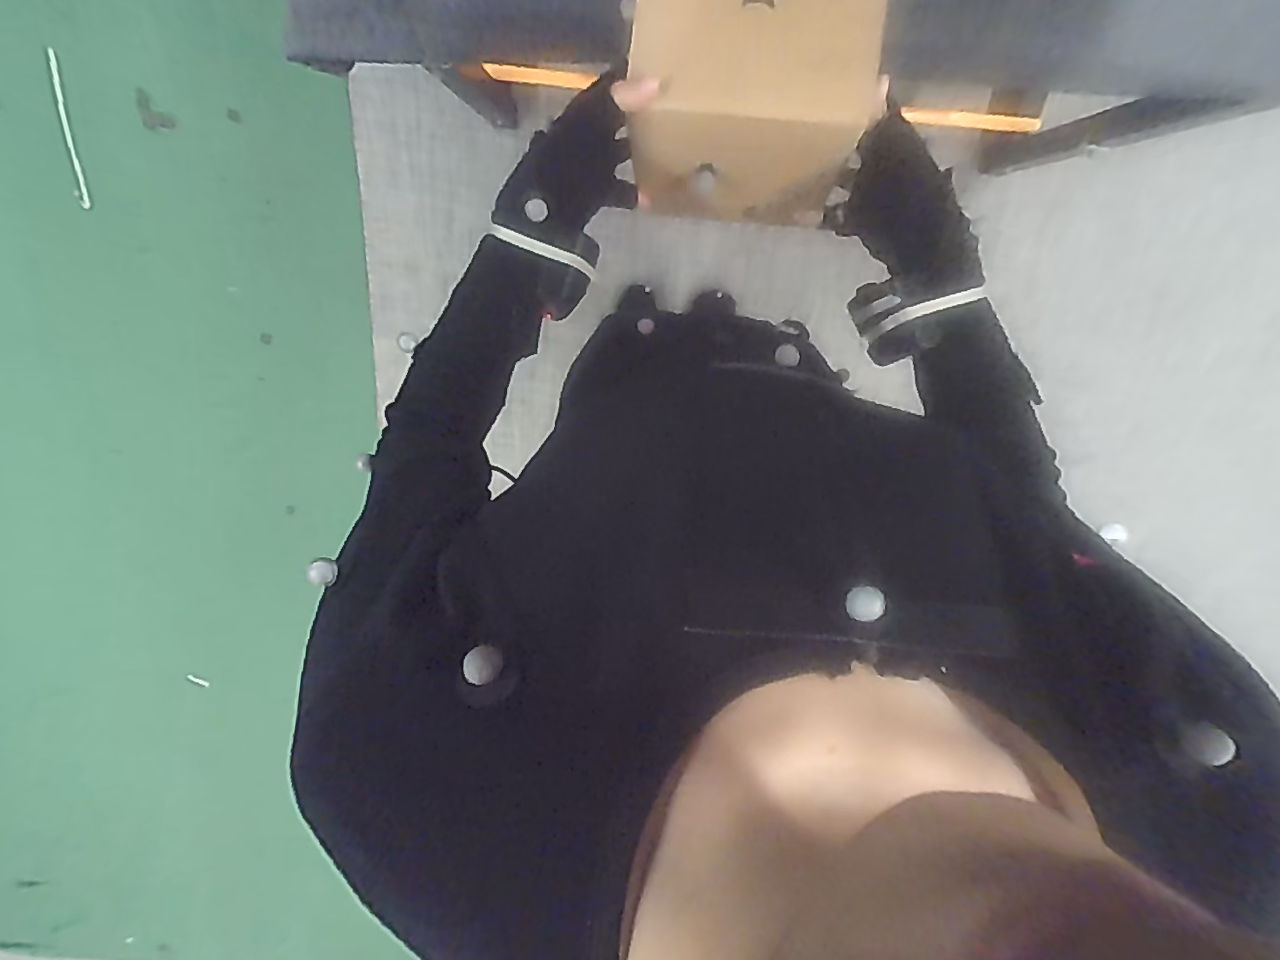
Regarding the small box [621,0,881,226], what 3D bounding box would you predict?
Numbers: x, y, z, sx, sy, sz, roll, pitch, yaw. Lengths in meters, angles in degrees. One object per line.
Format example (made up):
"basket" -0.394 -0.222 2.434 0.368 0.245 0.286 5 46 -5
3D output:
"small box" 0.085 -0.328 0.435 0.168 0.176 0.179 6 91 5
